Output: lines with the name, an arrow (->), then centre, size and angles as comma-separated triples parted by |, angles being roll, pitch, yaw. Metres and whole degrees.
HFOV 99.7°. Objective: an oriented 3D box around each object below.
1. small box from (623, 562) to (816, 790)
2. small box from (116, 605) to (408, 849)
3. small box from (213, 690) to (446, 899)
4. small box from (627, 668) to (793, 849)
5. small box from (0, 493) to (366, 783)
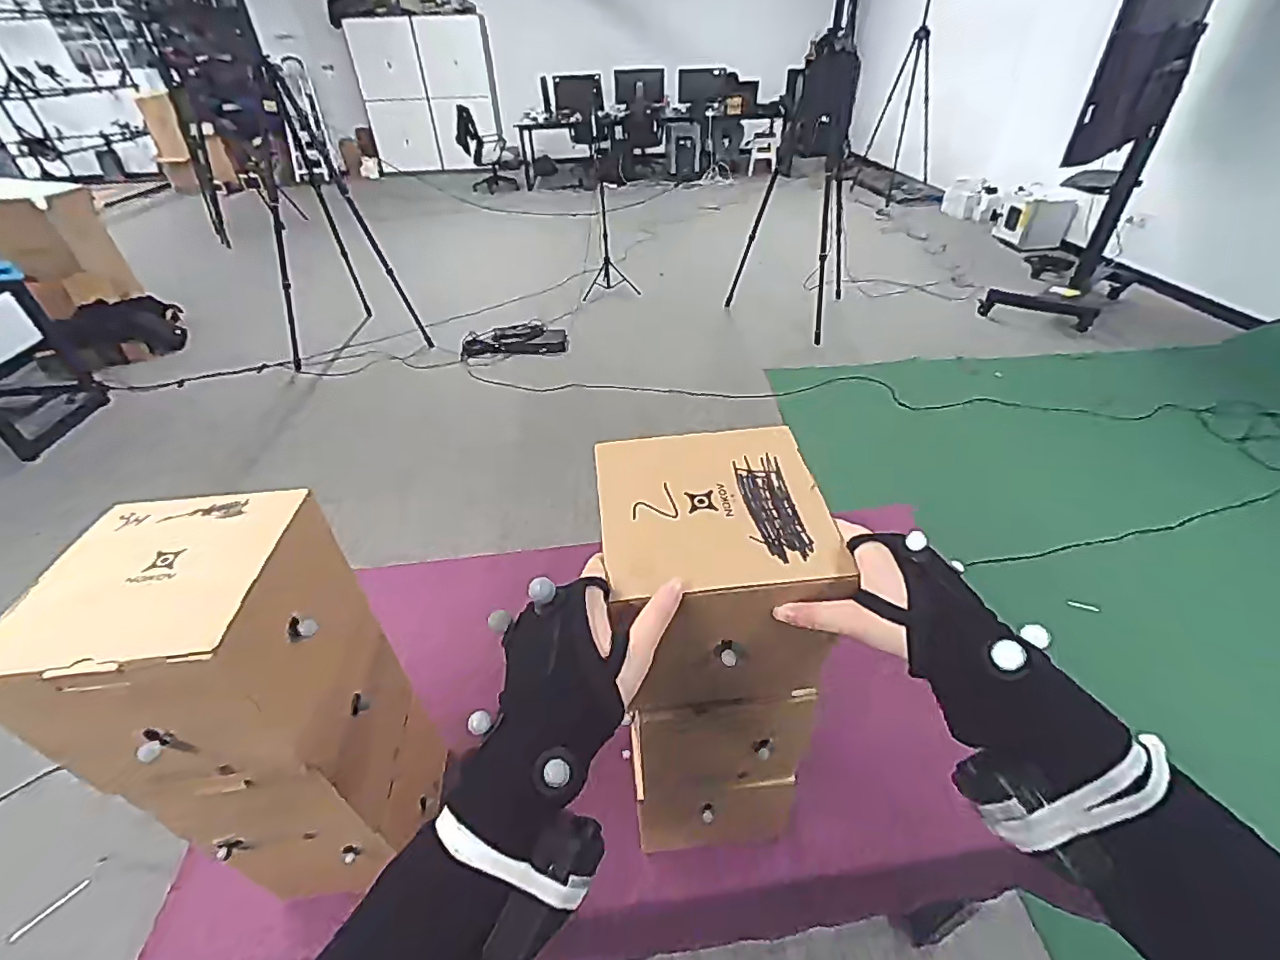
small box -> 0.074, 0.218, 0.597 | 0.168, 0.176, 0.179 | -5, 38, -5
small box -> -0.362, 0.260, 0.568 | 0.168, 0.176, 0.179 | -5, 37, -5
small box -> -0.359, 0.389, 0.669 | 0.179, 0.176, 0.168 | -5, 39, -5
small box -> 0.079, 0.349, 0.694 | 0.179, 0.176, 0.168 | -5, 39, -3
small box -> -0.360, 0.135, 0.460 | 0.168, 0.176, 0.179 | -4, 39, -5
